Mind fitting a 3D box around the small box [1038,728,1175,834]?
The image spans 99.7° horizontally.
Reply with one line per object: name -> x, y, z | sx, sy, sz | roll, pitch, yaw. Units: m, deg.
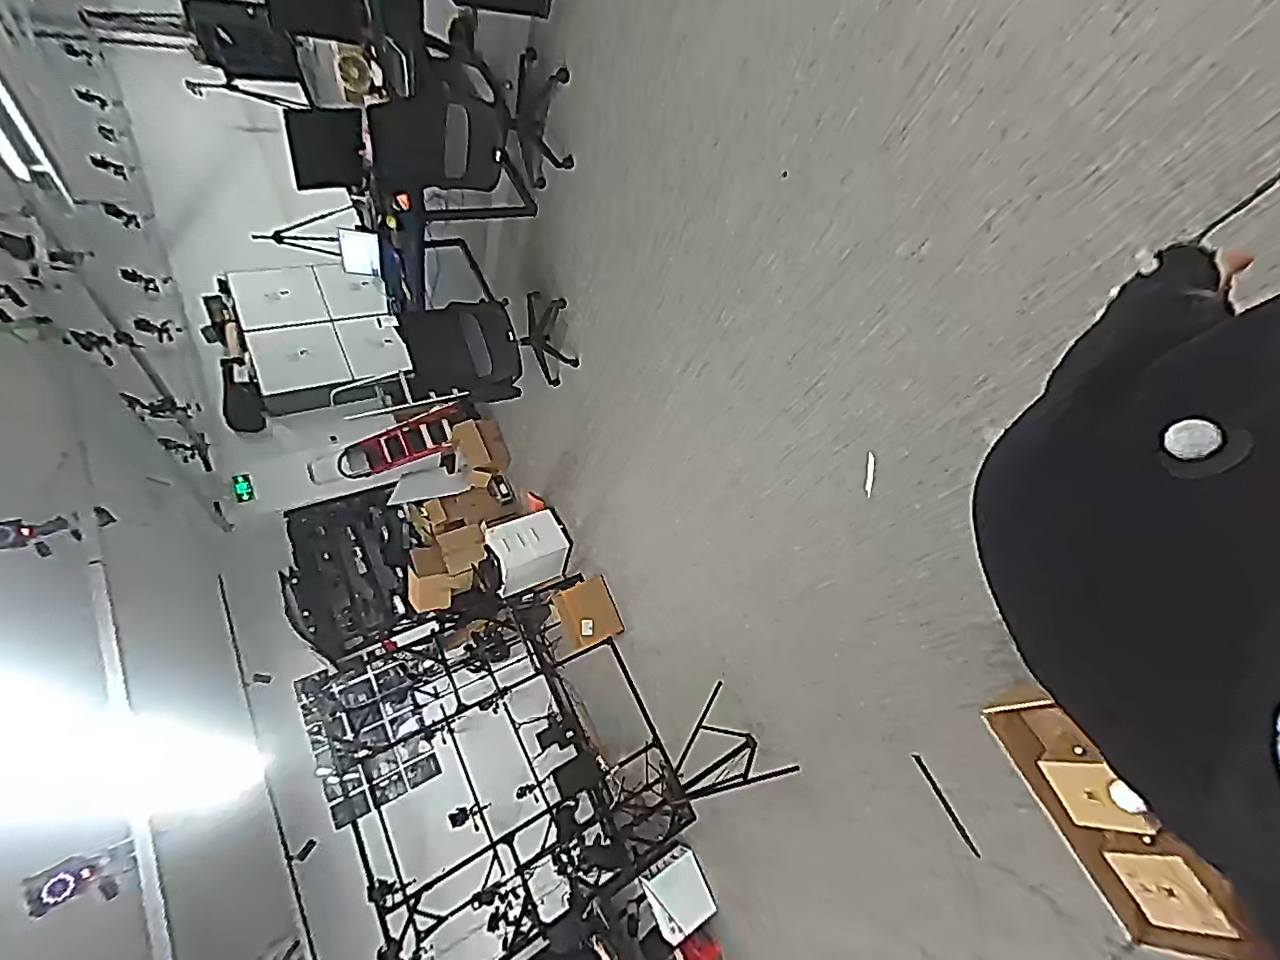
small box -> 1.162, 0.738, 1.348 | 0.168, 0.176, 0.179 | 64, 150, 12

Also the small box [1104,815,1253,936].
small box -> 1.264, 0.912, 1.266 | 0.168, 0.176, 0.179 | 62, 150, 20
